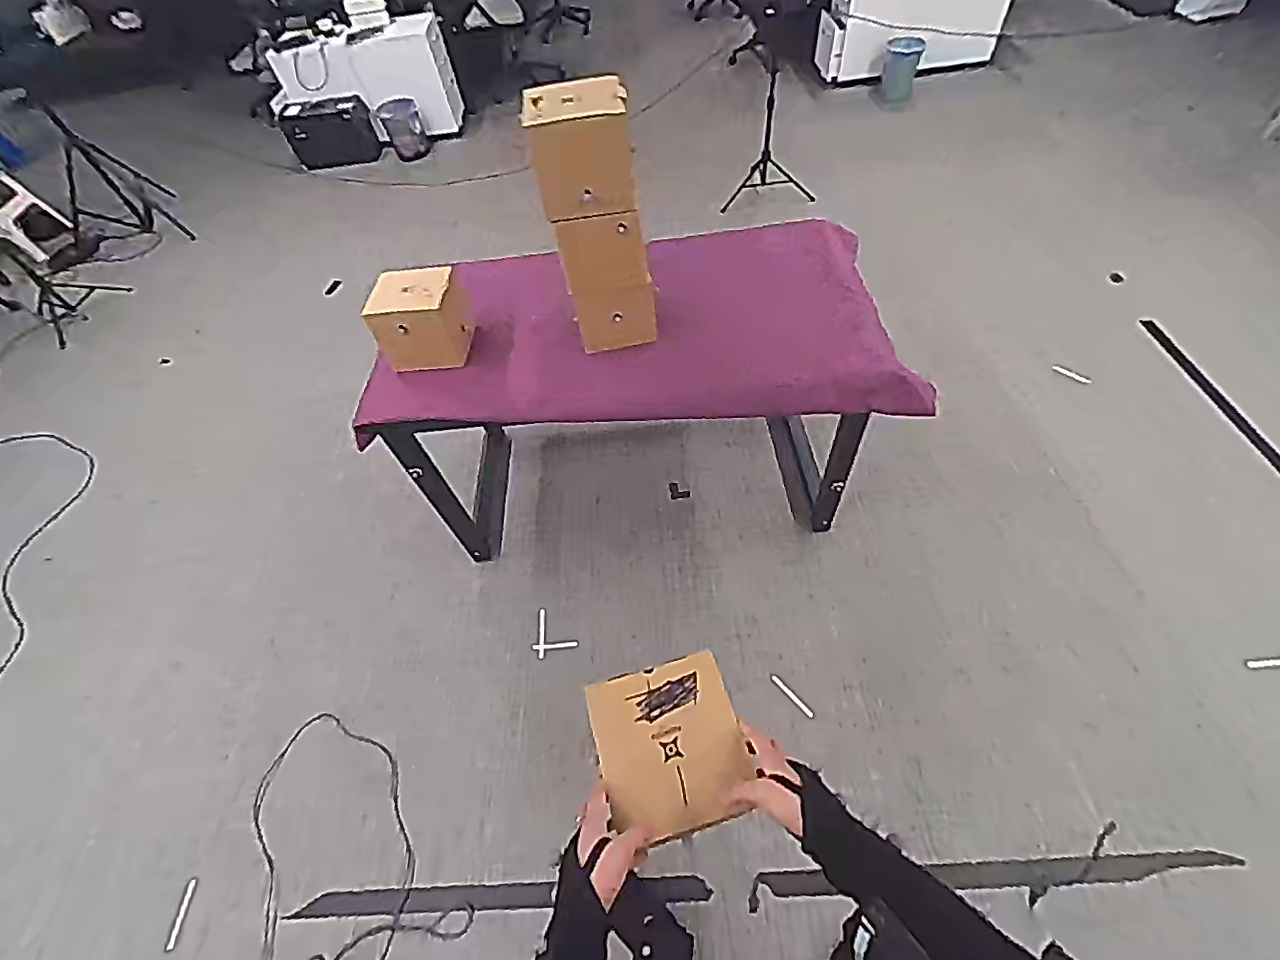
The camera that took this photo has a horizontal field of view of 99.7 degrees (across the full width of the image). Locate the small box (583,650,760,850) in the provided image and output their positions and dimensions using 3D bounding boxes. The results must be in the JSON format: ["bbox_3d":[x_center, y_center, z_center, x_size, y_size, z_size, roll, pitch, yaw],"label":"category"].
[{"bbox_3d":[0.031,0.344,0.684,0.168,0.176,0.179,-14,56,-8],"label":"small box"}]

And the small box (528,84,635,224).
[{"bbox_3d":[-0.101,-0.604,1.011,0.179,0.176,0.168,-7,53,0],"label":"small box"}]

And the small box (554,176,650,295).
[{"bbox_3d":[-0.078,-0.511,1.144,0.179,0.176,0.168,-7,54,1],"label":"small box"}]

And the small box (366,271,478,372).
[{"bbox_3d":[-0.509,-0.374,1.290,0.179,0.176,0.168,-3,53,3],"label":"small box"}]
